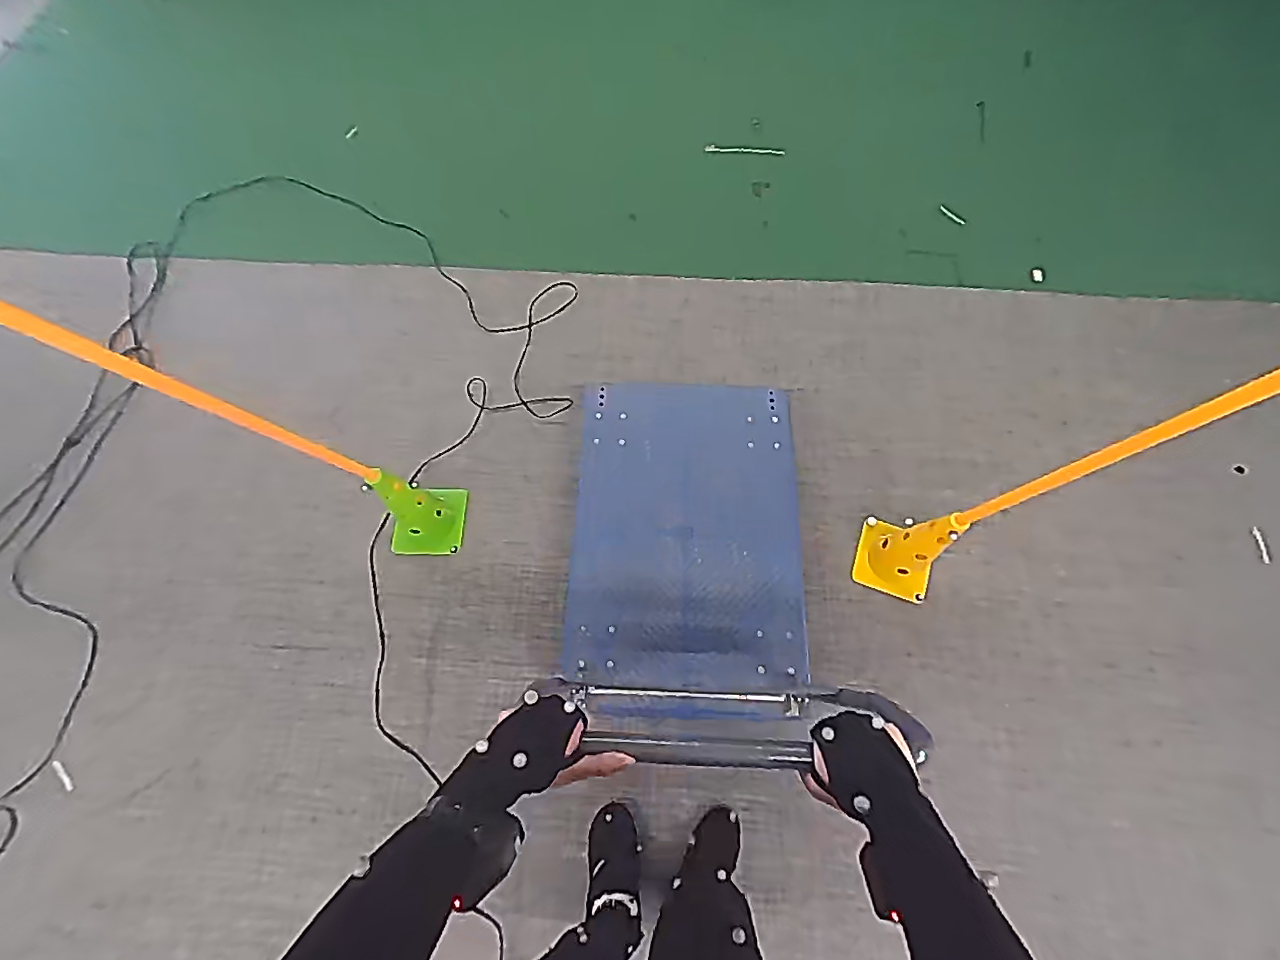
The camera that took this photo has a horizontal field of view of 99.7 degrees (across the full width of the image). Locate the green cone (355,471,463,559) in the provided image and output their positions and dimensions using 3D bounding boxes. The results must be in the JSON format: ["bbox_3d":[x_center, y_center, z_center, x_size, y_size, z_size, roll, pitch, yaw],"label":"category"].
[{"bbox_3d":[-0.624,0.062,1.405,0.202,0.368,0.200,-1,67,2],"label":"green cone"}]
